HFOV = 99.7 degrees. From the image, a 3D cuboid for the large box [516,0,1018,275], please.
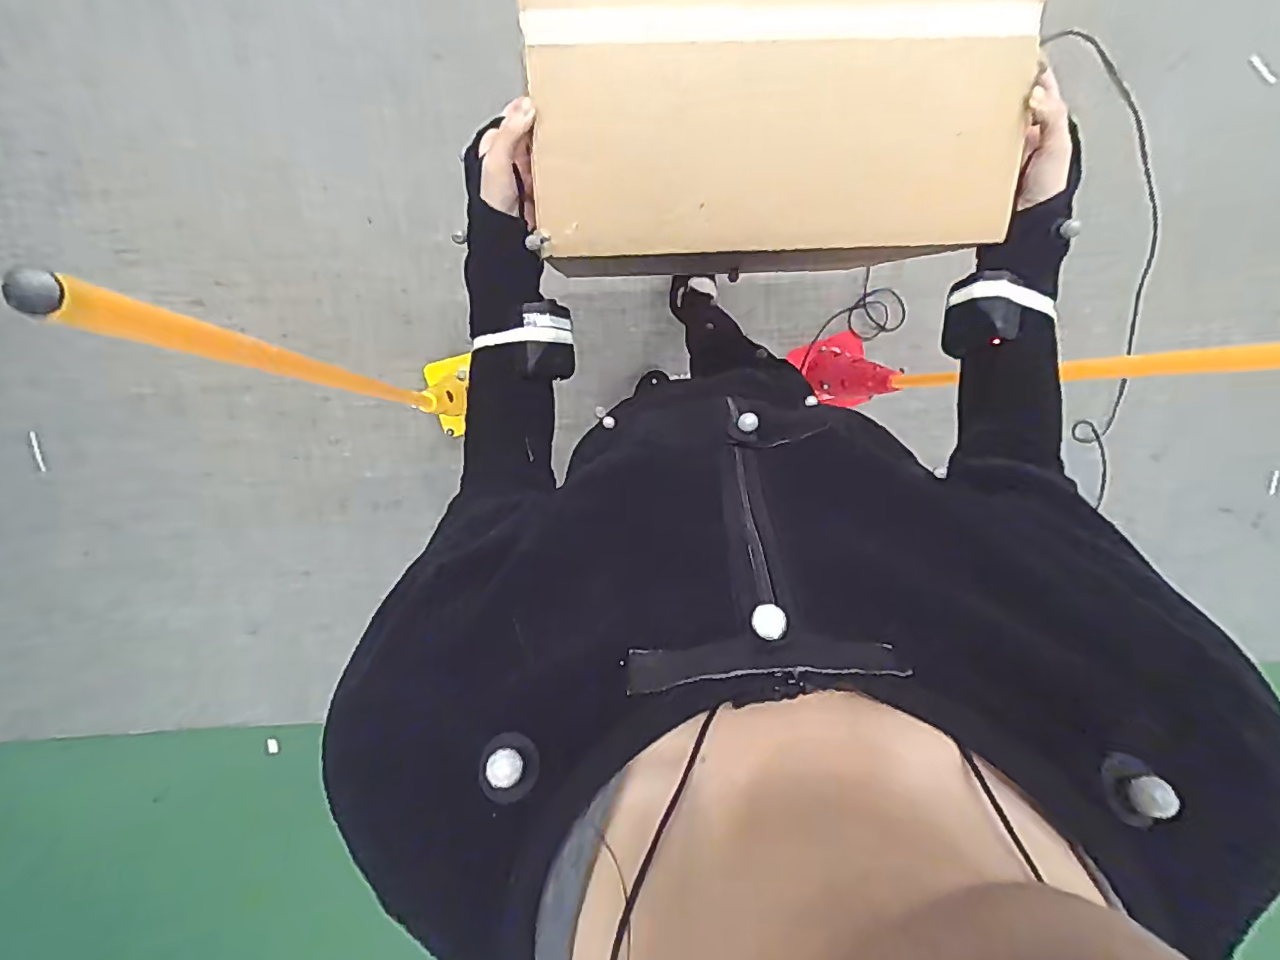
[{"bbox_3d":[0.097,-0.395,0.572,0.408,0.320,0.320,-3,107,-2],"label":"large box"}]
